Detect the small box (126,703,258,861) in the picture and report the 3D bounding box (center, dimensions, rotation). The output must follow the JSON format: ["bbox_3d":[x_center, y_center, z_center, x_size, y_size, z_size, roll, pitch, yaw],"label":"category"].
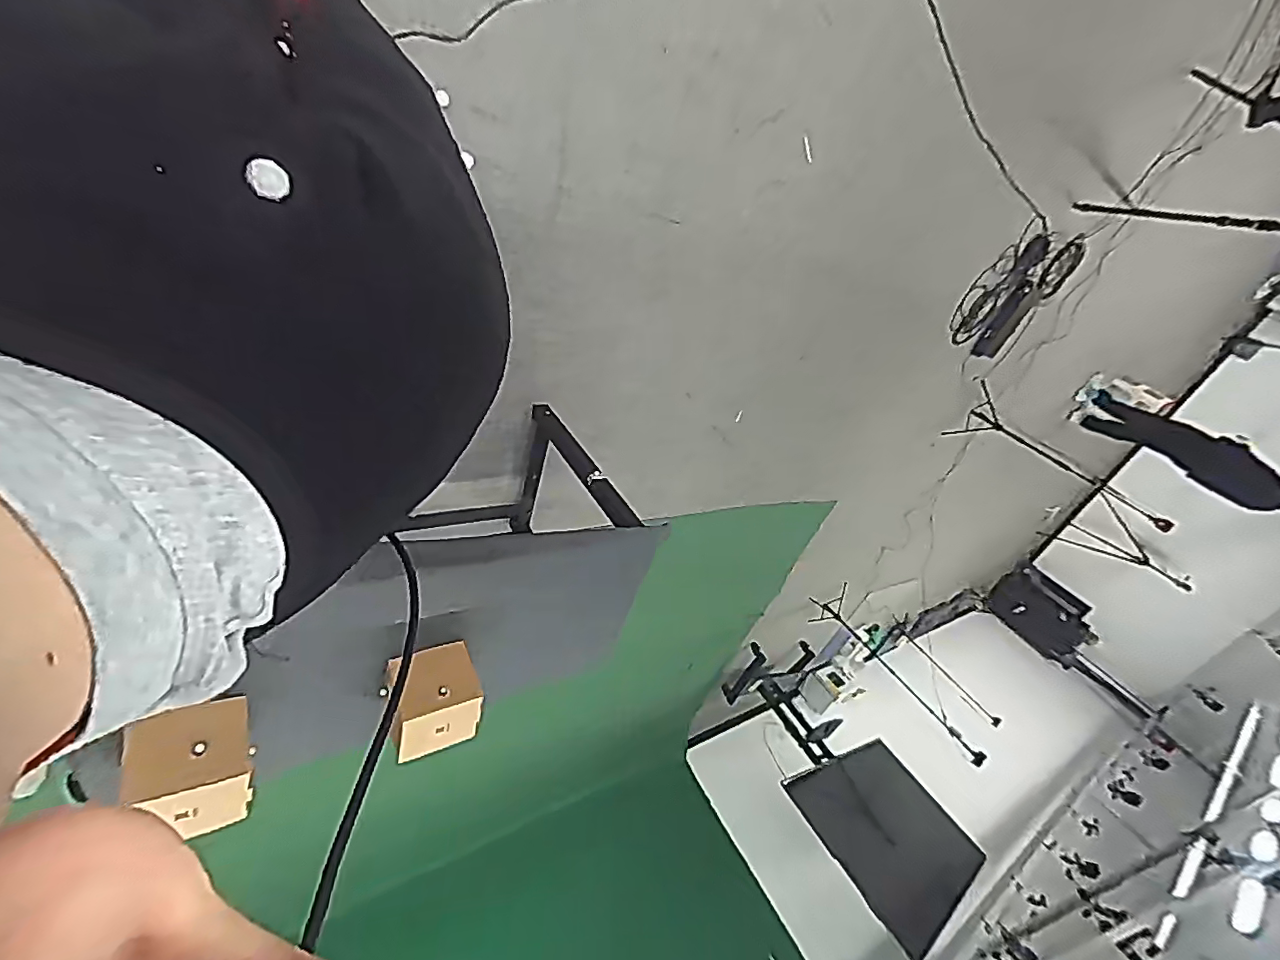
[{"bbox_3d":[-0.827,0.545,1.000,0.179,0.176,0.168,-1,126,-40],"label":"small box"}]

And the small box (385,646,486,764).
[{"bbox_3d":[-0.482,0.517,1.265,0.179,0.176,0.168,-5,129,-35],"label":"small box"}]
